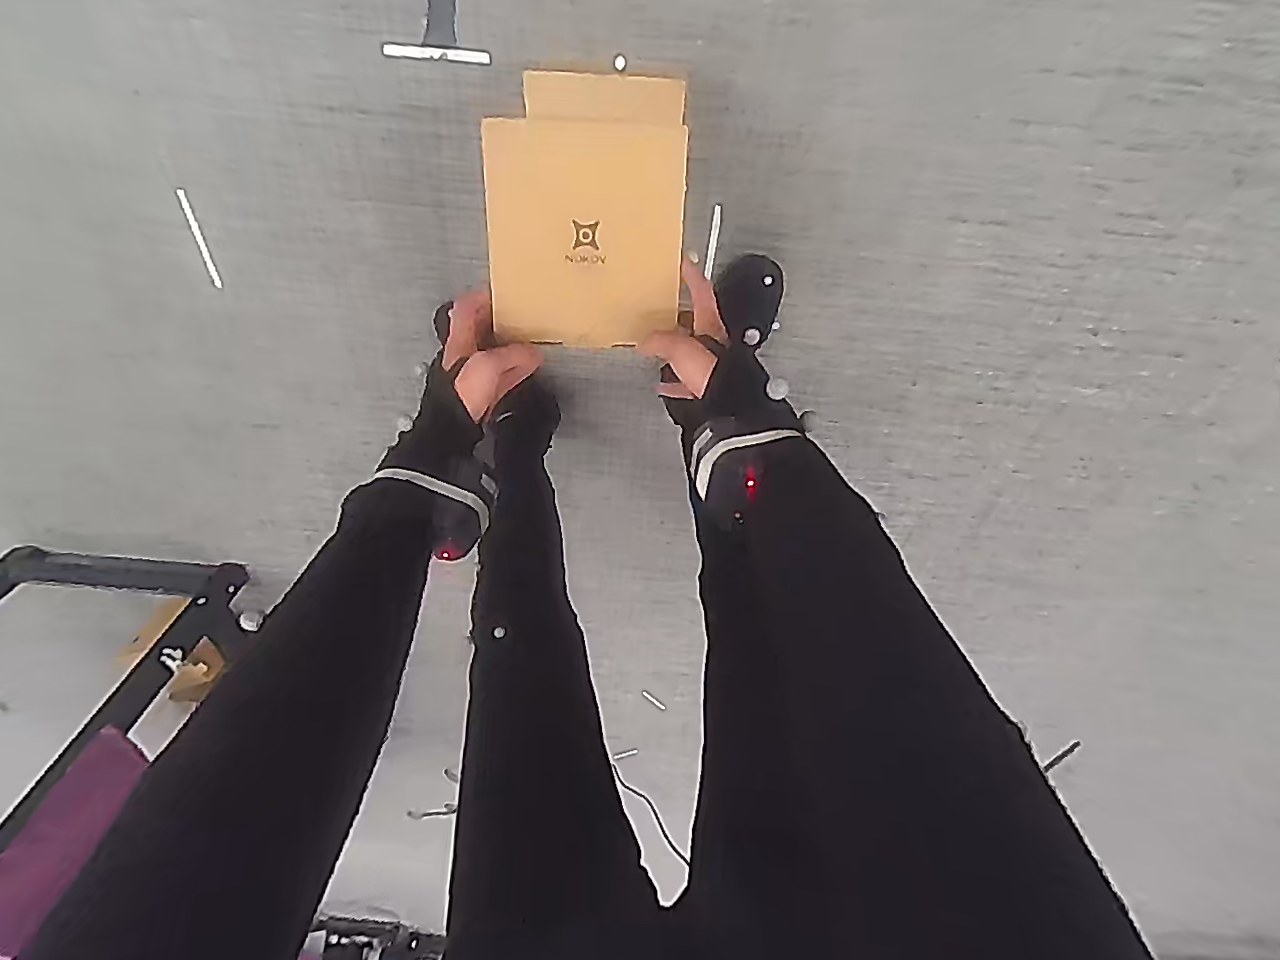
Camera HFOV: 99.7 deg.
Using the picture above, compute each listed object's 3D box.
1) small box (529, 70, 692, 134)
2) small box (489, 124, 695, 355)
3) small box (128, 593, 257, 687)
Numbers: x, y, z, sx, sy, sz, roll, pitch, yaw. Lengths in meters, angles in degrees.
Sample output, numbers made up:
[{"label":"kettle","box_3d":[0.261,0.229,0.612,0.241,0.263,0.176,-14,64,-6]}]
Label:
[{"label":"small box","box_3d":[-0.030,-0.405,0.679,0.179,0.176,0.168,4,130,1]},{"label":"small box","box_3d":[-0.041,-0.226,0.530,0.168,0.176,0.179,2,113,0]},{"label":"small box","box_3d":[-1.201,0.433,1.467,0.179,0.176,0.168,-17,127,18]}]
